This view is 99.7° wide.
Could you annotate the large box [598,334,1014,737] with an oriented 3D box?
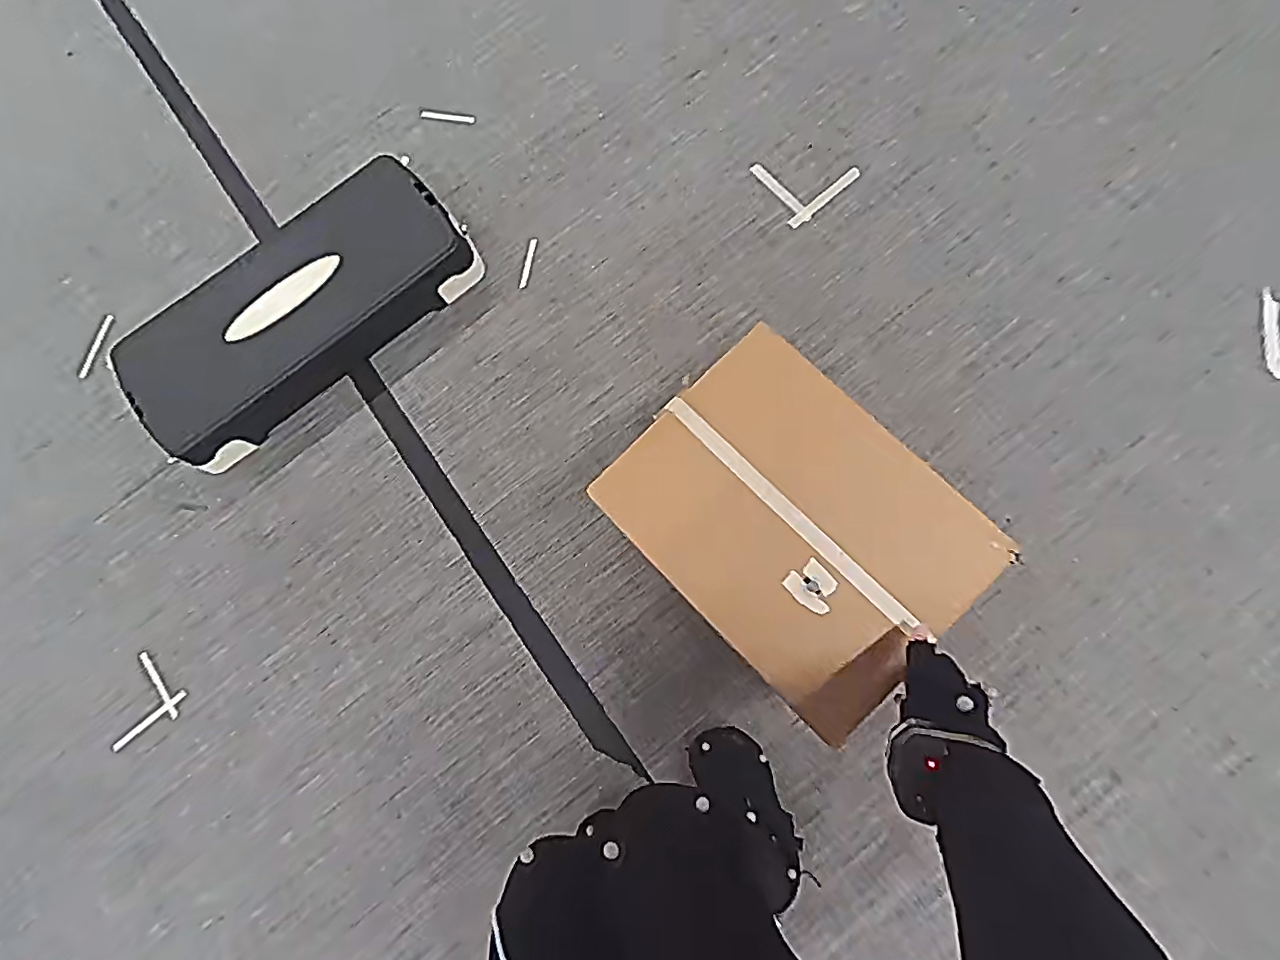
[{"bbox_3d":[0.198,0.075,0.793,0.320,0.320,0.408,-44,80,-4],"label":"large box"}]
